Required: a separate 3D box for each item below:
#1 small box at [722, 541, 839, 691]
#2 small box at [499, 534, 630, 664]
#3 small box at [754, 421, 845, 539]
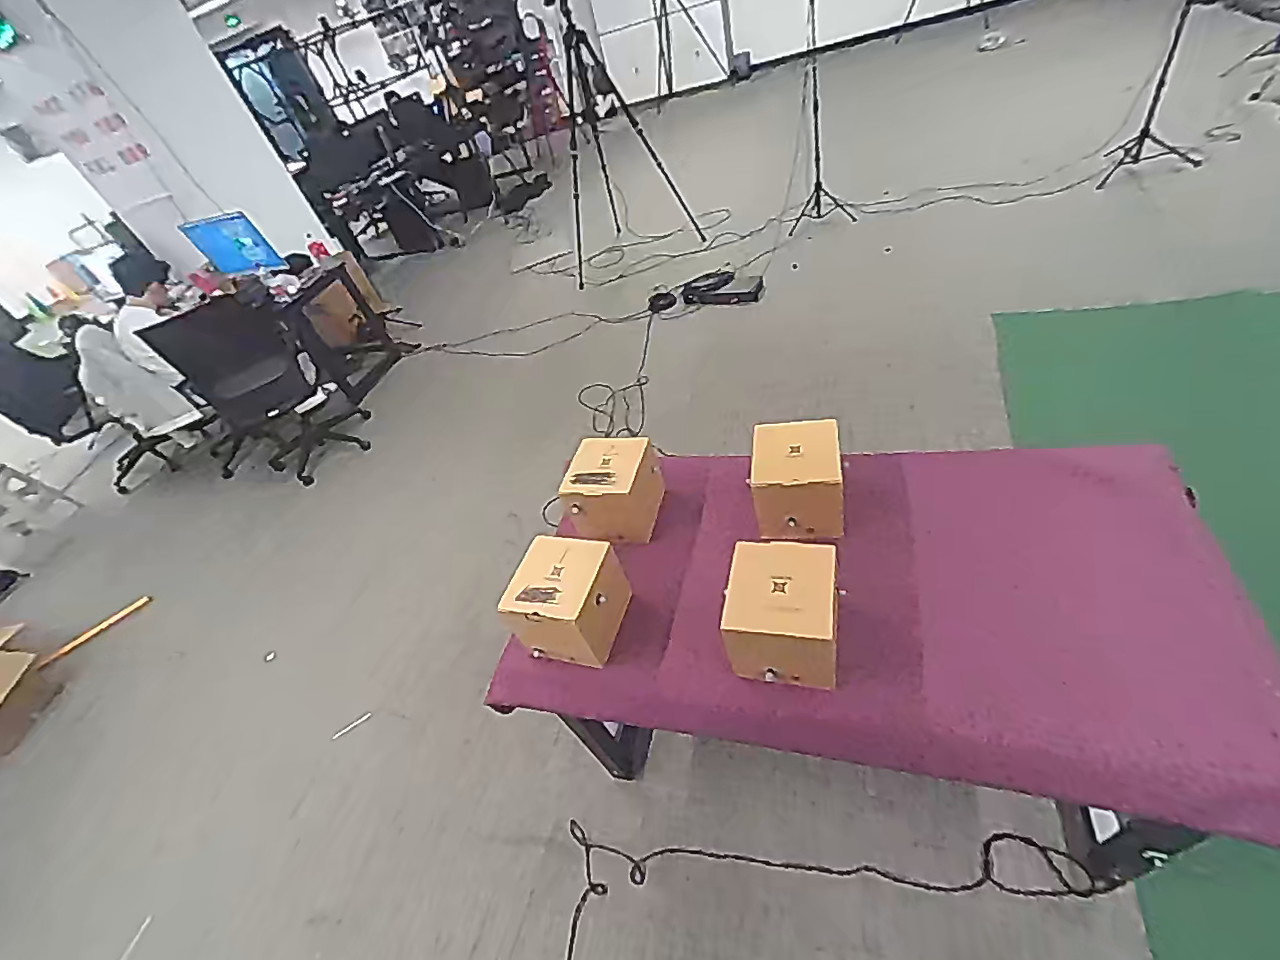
[{"bbox_3d":[0.244,0.225,0.909,0.168,0.176,0.179,1,46,22],"label":"small box"},{"bbox_3d":[-0.134,0.228,1.041,0.168,0.176,0.179,4,46,23],"label":"small box"},{"bbox_3d":[0.328,0.001,1.110,0.168,0.176,0.179,-2,47,18],"label":"small box"}]
